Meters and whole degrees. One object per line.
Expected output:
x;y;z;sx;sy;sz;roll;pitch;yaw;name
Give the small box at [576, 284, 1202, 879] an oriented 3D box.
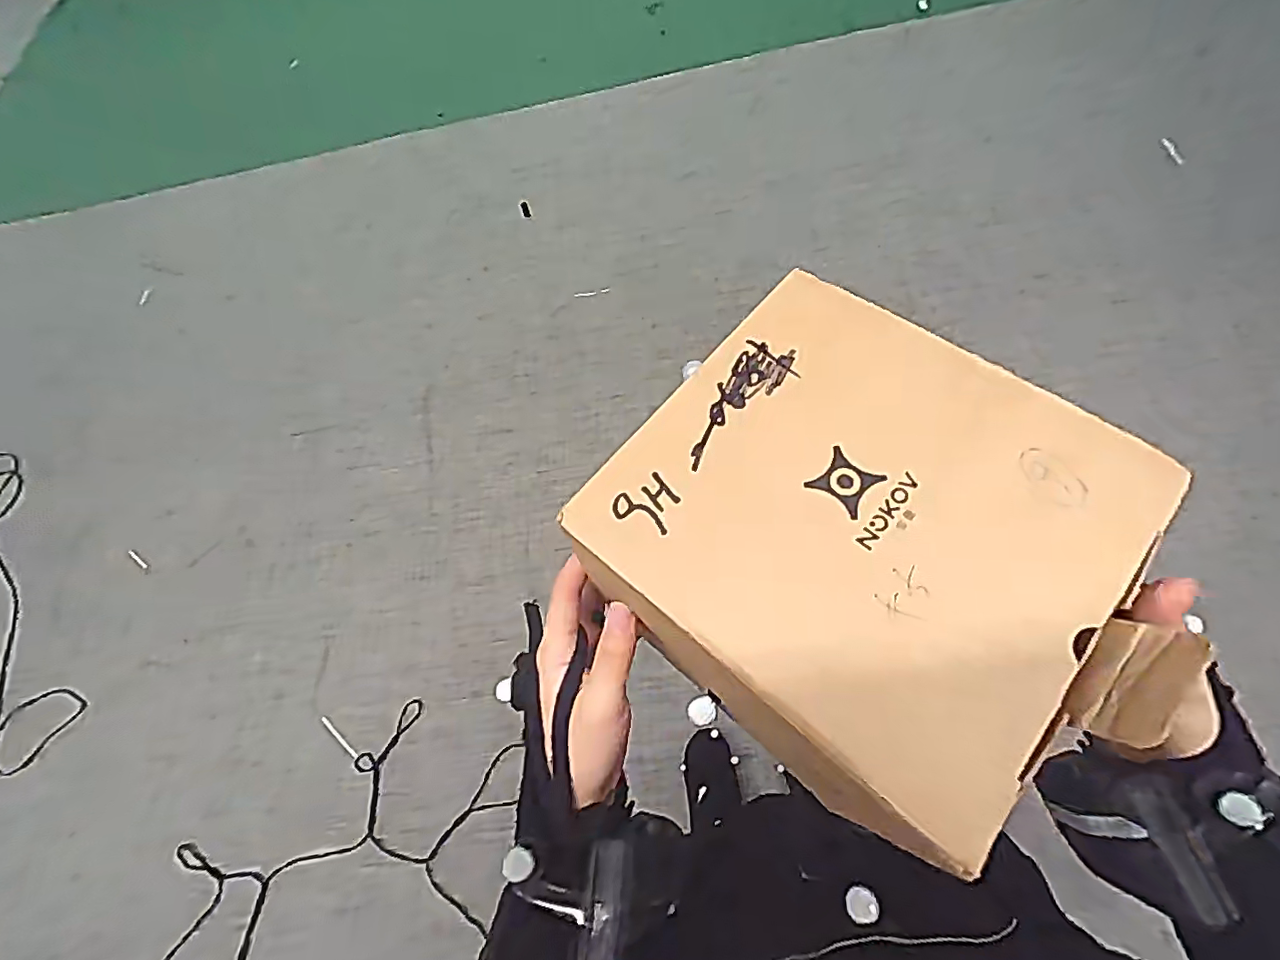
0.097;0.045;0.281;0.179;0.176;0.168;40;75;20;small box
